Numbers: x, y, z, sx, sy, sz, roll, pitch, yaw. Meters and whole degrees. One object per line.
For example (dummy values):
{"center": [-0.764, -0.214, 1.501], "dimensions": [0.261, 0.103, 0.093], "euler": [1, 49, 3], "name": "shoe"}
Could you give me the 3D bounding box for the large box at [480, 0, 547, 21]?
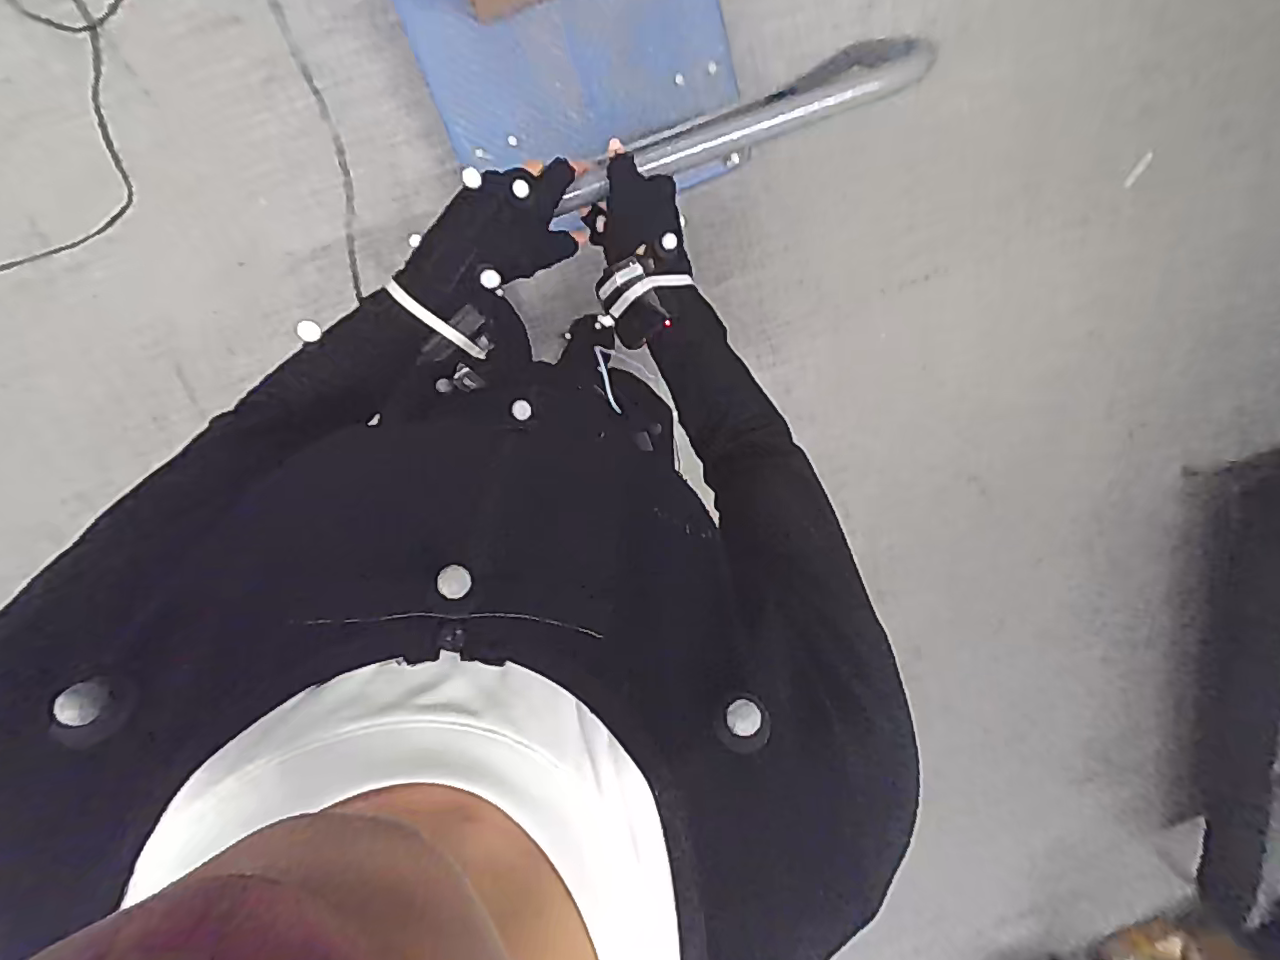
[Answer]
{"center": [-0.128, -0.994, 0.804], "dimensions": [0.408, 0.320, 0.320], "euler": [-22, 112, 1], "name": "large box"}
